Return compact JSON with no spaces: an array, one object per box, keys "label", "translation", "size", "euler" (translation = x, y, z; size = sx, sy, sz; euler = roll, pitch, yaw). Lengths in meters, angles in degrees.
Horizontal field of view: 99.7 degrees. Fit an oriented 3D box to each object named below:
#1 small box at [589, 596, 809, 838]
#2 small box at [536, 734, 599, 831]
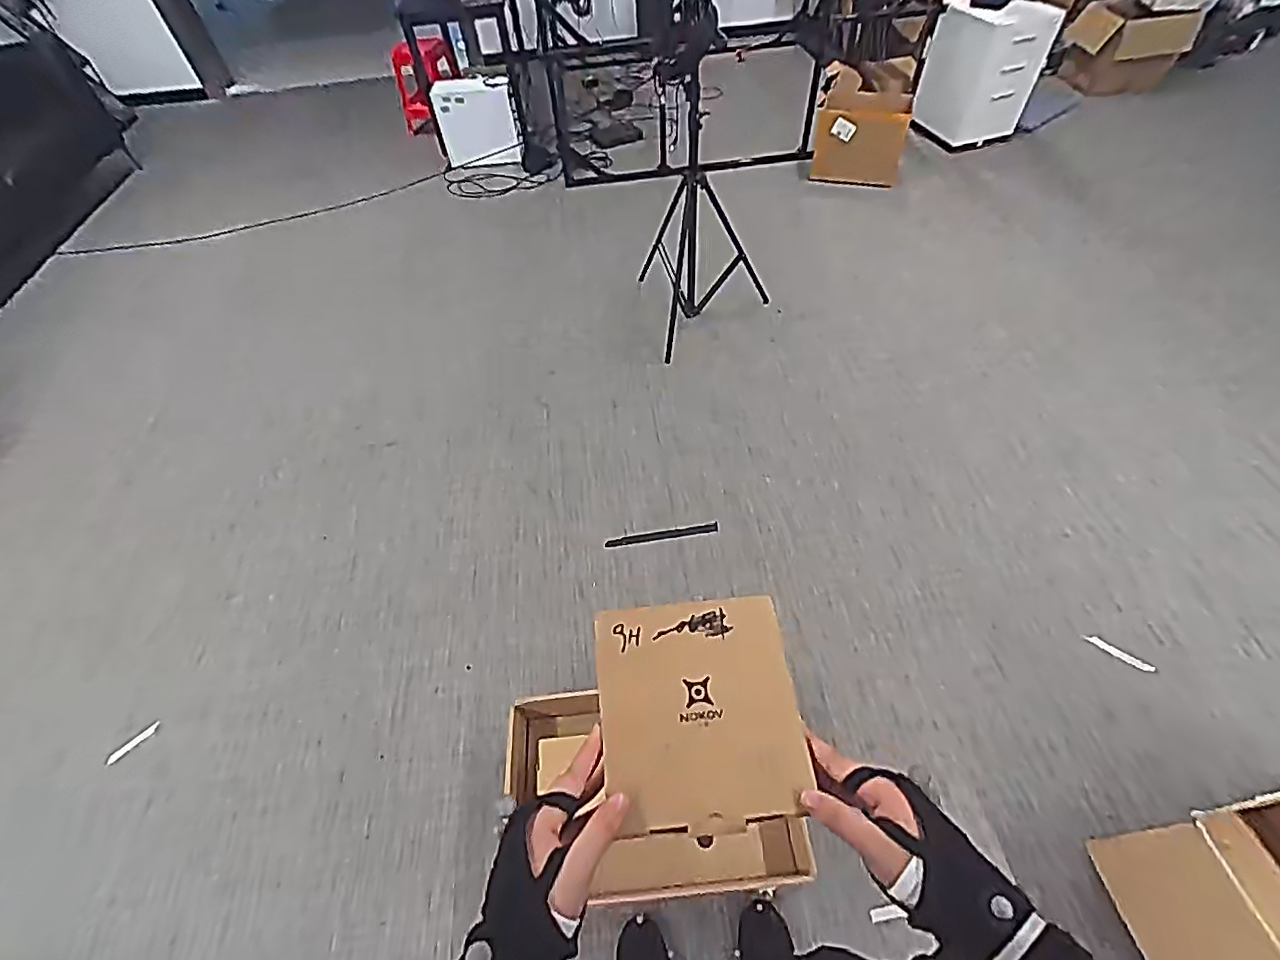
[{"label":"small box","translation":[0.042,0.227,0.520],"size":[0.168,0.176,0.179],"euler":[-5,59,-4]},{"label":"small box","translation":[-0.127,0.672,1.199],"size":[0.179,0.176,0.168],"euler":[-6,55,-2]}]
